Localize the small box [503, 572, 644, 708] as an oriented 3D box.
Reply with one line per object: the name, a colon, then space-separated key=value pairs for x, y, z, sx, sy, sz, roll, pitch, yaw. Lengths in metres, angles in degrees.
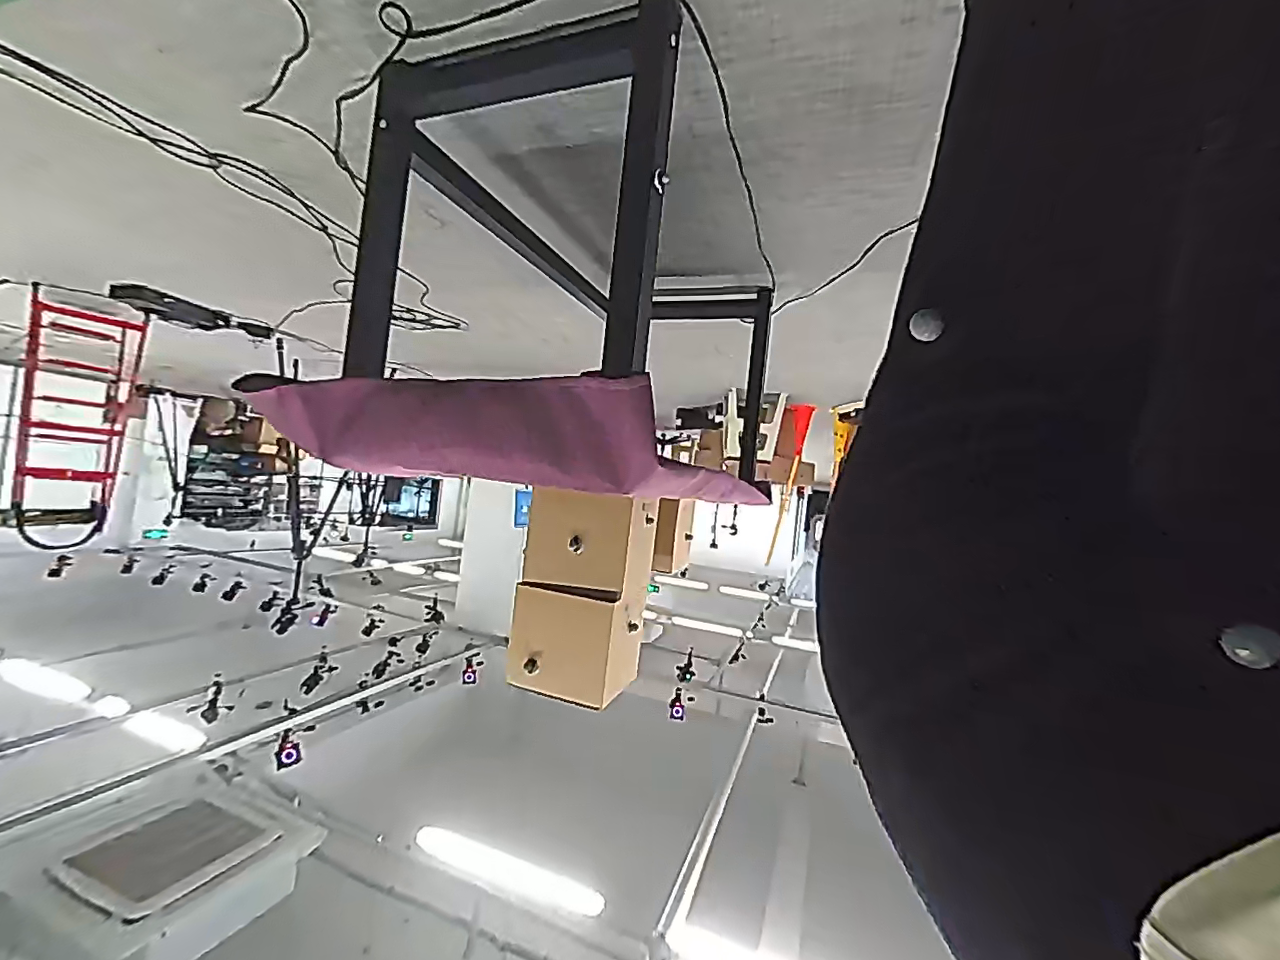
small box: x=-0.106 y=0.257 z=0.918 sx=0.179 sy=0.176 sz=0.168 roll=7 pitch=180 yaw=19

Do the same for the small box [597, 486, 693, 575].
small box: x=0.019 y=0.108 z=1.230 sx=0.179 sy=0.176 sz=0.168 roll=8 pitch=180 yaw=17
